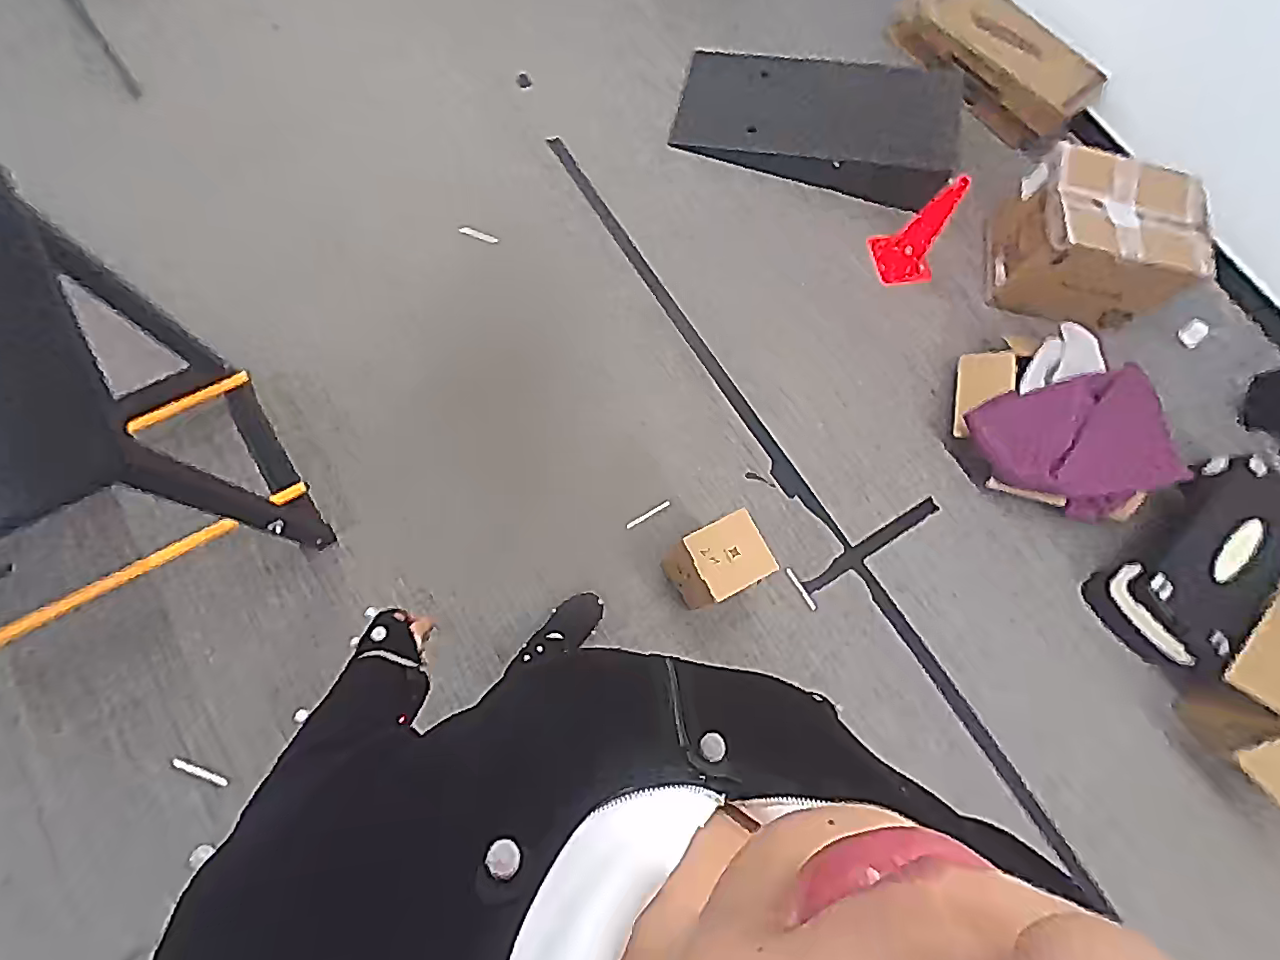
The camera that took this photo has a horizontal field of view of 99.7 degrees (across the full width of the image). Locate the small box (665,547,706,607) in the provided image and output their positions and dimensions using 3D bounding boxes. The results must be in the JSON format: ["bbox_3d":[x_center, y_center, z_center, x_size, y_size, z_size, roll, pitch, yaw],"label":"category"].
[{"bbox_3d":[0.182,0.234,1.480,0.179,0.176,0.168,-31,79,-13],"label":"small box"}]

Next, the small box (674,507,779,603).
[{"bbox_3d":[0.202,0.189,1.322,0.179,0.176,0.168,-25,78,-12],"label":"small box"}]
